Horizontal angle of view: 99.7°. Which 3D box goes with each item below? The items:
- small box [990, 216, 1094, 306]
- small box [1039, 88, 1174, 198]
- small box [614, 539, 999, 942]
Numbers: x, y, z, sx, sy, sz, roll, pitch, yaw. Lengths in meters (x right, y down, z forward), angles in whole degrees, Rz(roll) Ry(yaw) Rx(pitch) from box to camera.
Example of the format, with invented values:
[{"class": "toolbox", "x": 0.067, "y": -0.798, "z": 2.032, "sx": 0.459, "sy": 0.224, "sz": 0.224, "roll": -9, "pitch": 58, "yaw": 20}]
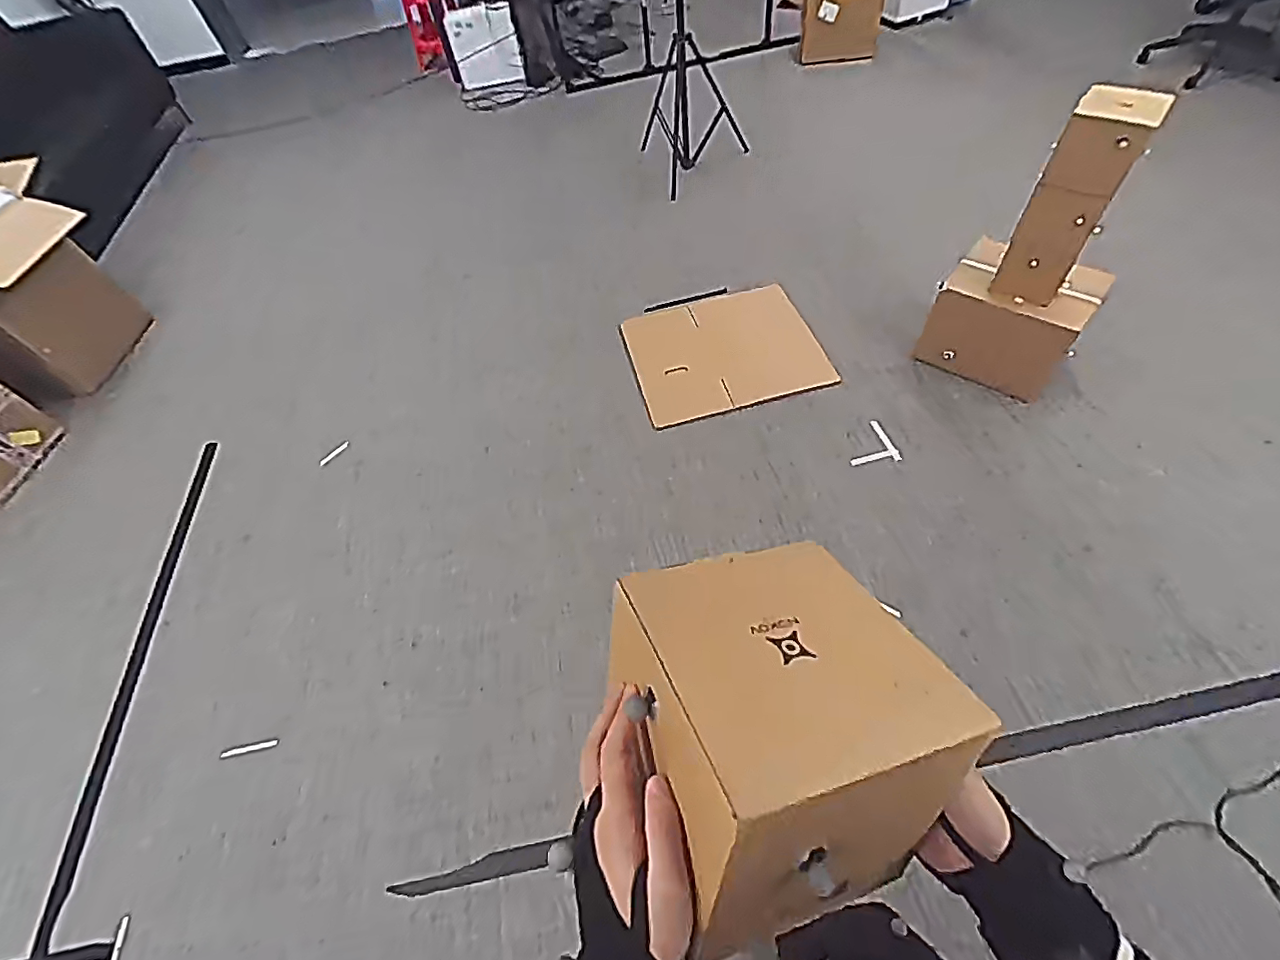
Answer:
[{"class": "small box", "x": 1.188, "y": -0.648, "z": 1.610, "sx": 0.179, "sy": 0.176, "sz": 0.168, "roll": 30, "pitch": 66, "yaw": 24}, {"class": "small box", "x": 1.147, "y": -0.831, "z": 1.339, "sx": 0.179, "sy": 0.176, "sz": 0.168, "roll": 31, "pitch": 65, "yaw": 25}, {"class": "small box", "x": 0.085, "y": 0.168, "z": 0.371, "sx": 0.168, "sy": 0.176, "sz": 0.179, "roll": -7, "pitch": 31, "yaw": -20}]
